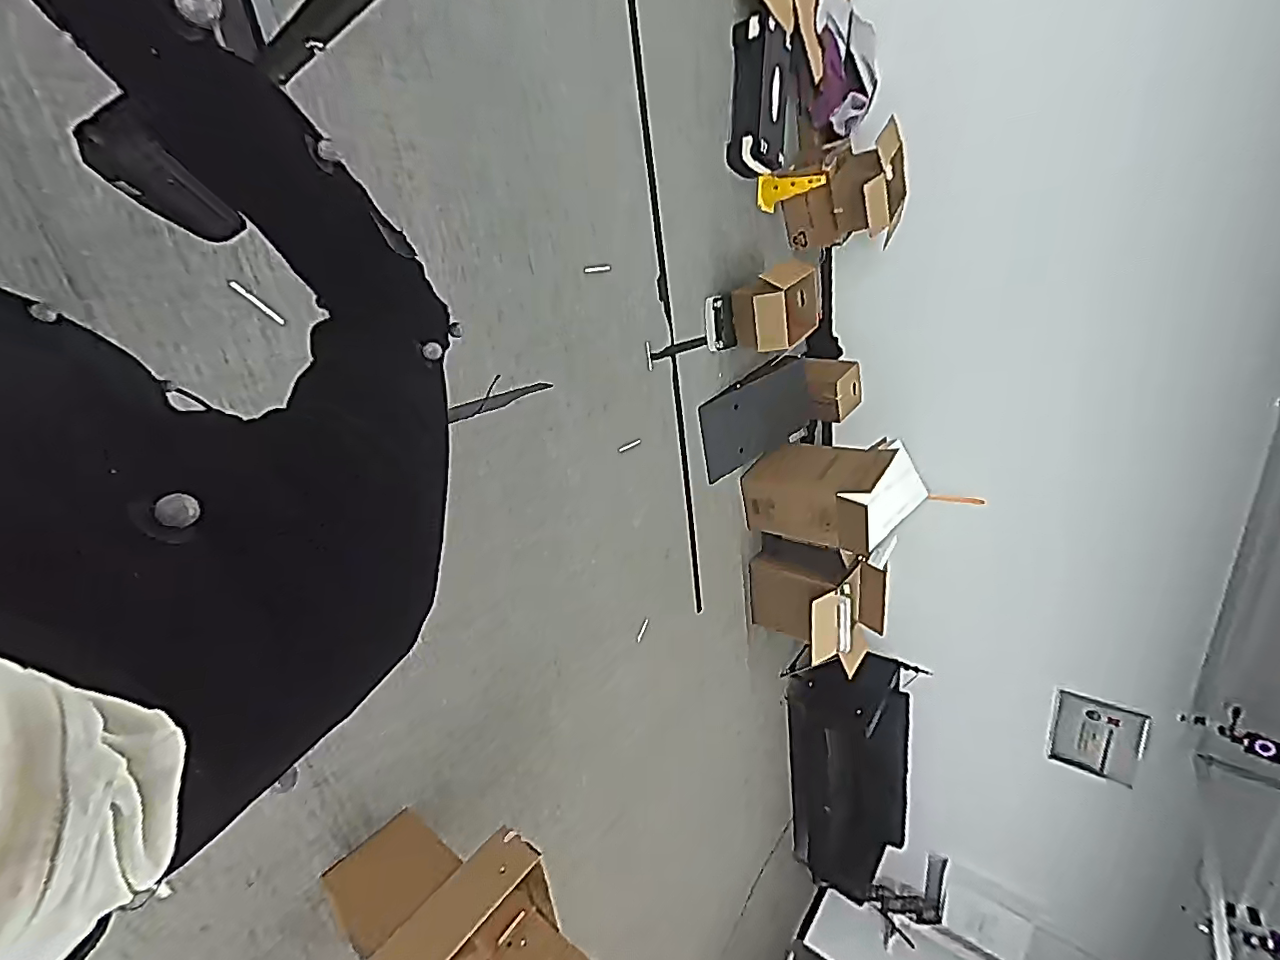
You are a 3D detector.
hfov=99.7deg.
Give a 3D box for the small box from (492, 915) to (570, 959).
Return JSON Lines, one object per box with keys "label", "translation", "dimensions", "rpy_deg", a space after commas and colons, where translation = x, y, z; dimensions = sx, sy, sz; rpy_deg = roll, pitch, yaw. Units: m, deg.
{"label": "small box", "translation": [-0.305, 1.427, 1.568], "dimensions": [0.168, 0.176, 0.179], "rpy_deg": [-33, 122, -44]}
